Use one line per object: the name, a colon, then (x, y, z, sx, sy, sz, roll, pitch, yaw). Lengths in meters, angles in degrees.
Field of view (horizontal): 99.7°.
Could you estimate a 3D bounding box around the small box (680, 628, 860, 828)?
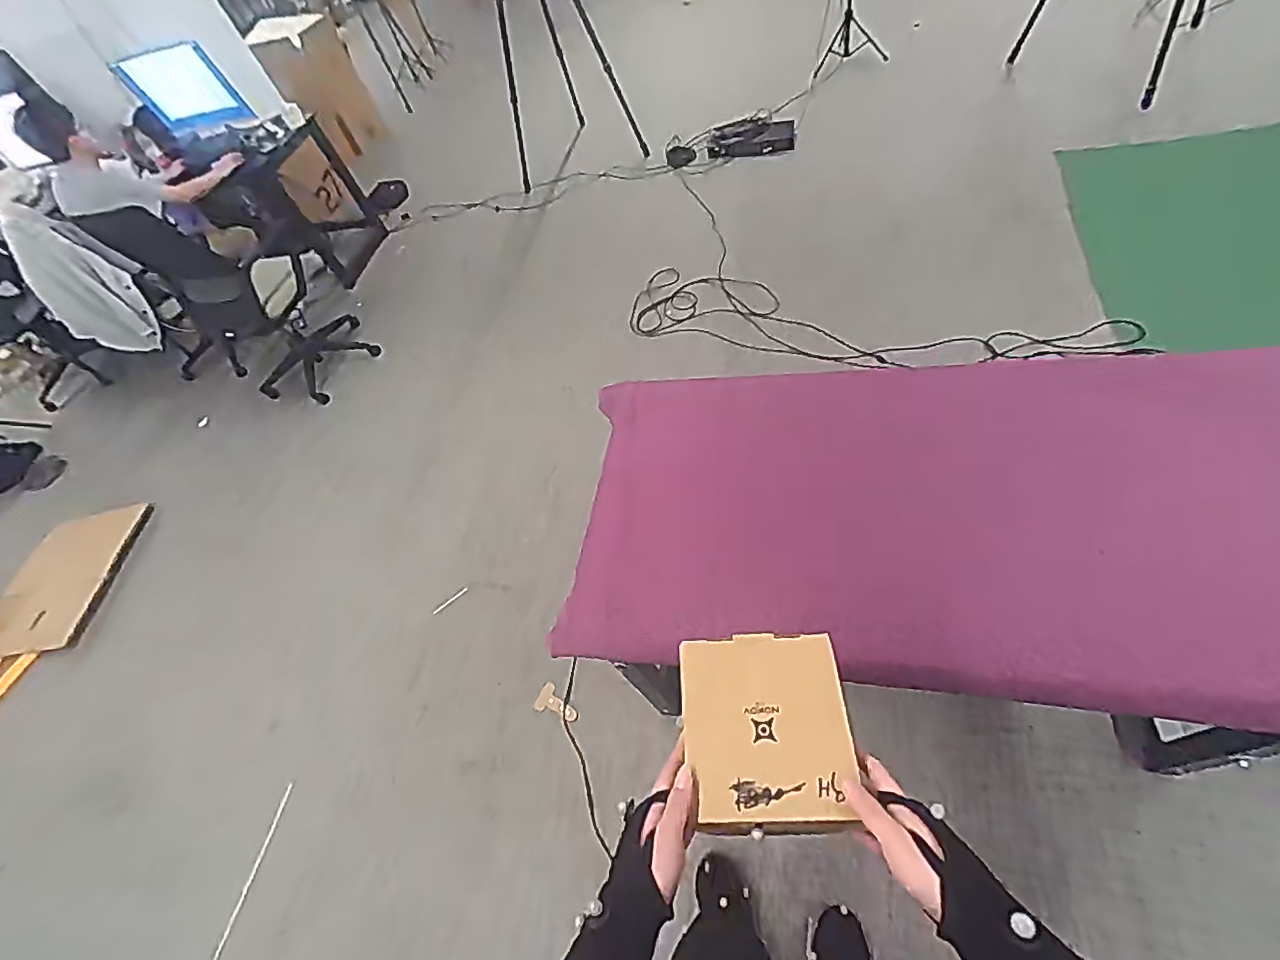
small box: (0.133, 0.284, 0.614, 0.168, 0.176, 0.179, -5, 54, 7)
